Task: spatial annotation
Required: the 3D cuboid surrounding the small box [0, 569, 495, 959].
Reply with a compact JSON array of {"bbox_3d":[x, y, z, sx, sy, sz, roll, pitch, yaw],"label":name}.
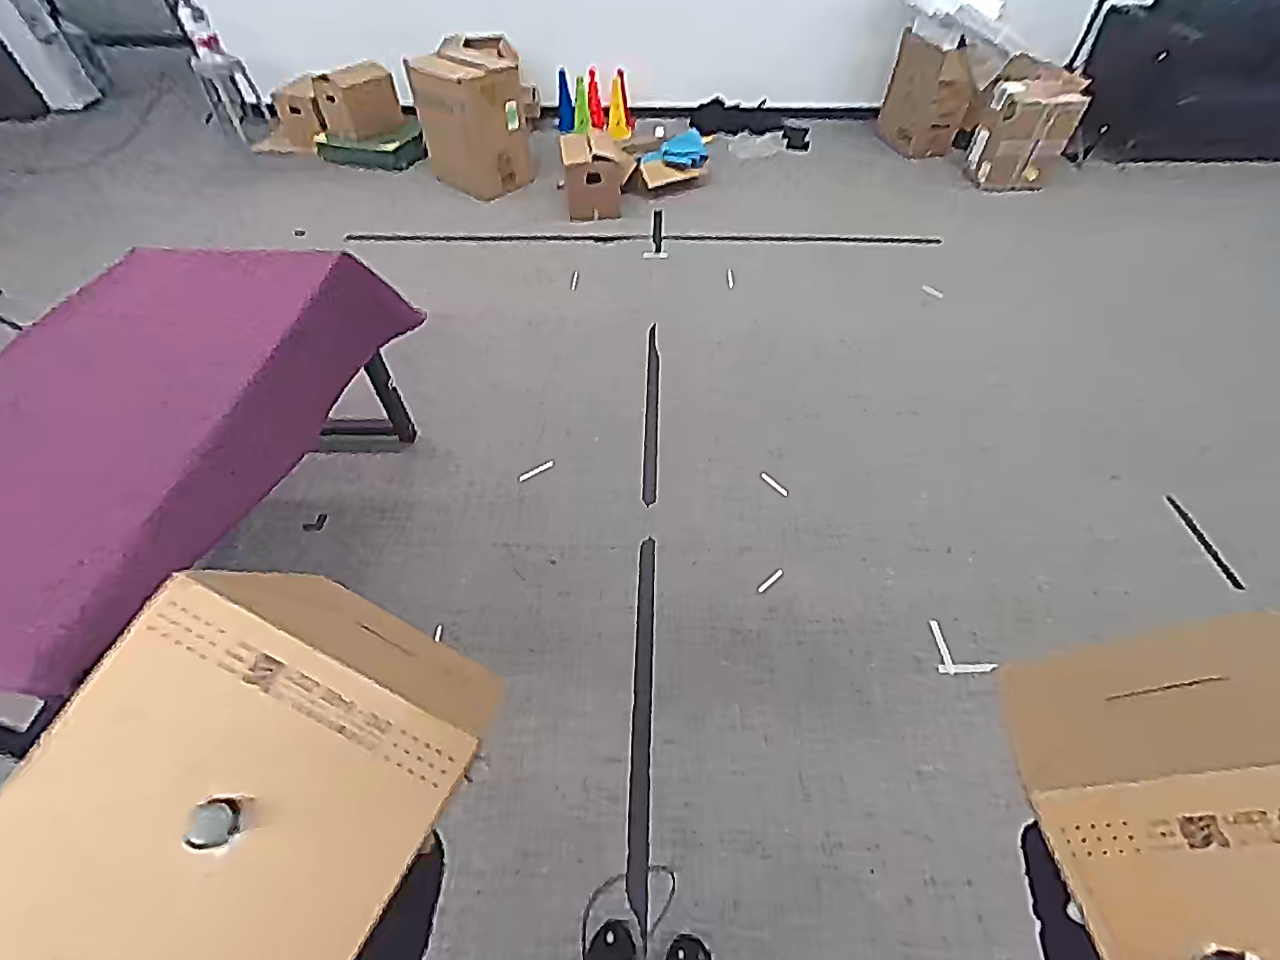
[{"bbox_3d":[-0.200,0.161,0.306,0.168,0.179,0.176,31,74,-3],"label":"small box"}]
